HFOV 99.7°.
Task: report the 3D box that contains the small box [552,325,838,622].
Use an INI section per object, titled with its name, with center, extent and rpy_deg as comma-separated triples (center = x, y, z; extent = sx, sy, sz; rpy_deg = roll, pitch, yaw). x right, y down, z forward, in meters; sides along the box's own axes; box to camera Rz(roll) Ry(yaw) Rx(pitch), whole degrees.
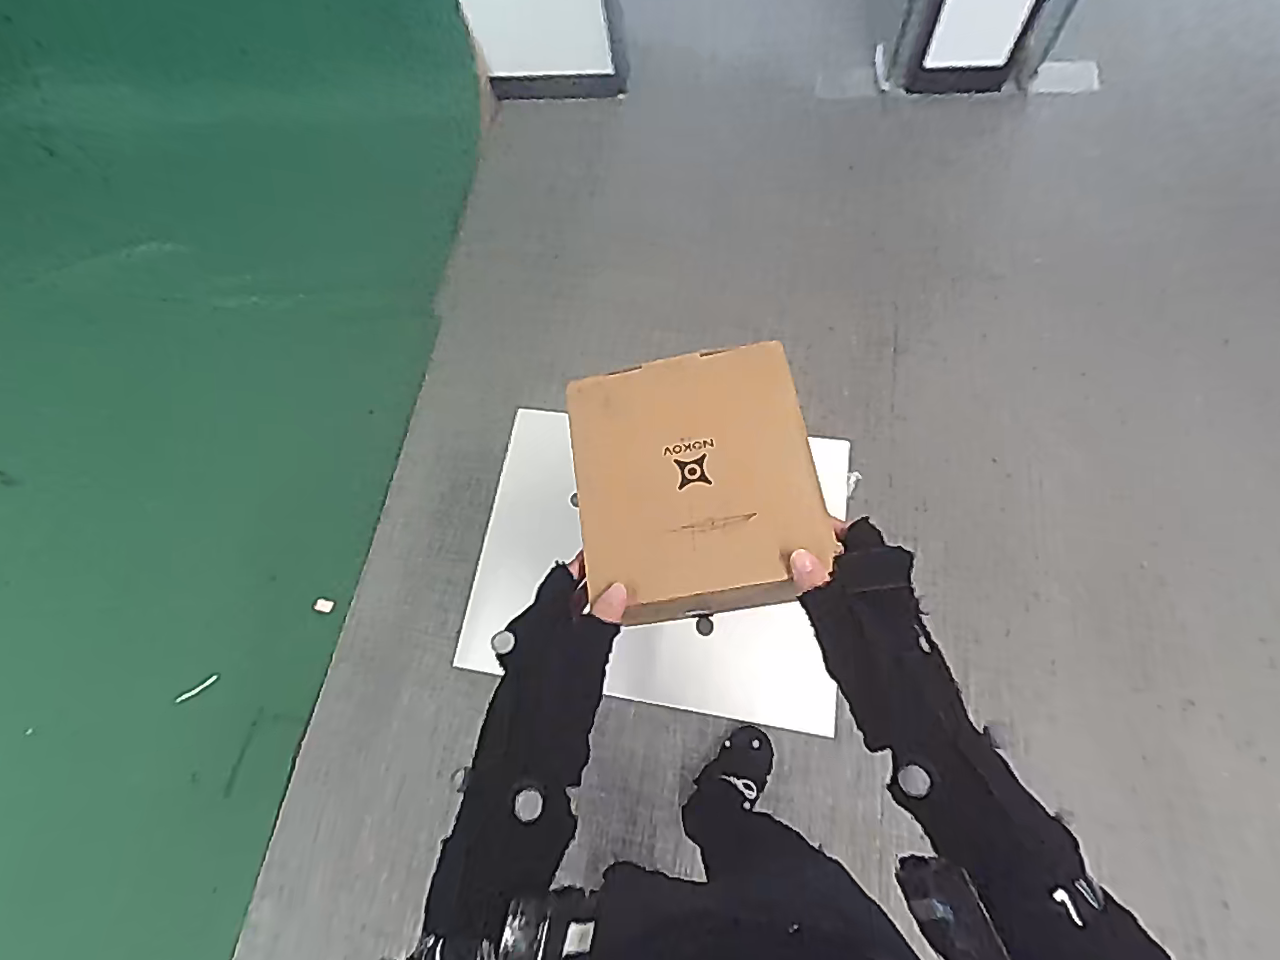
[small box]
center = 0.038, 0.009, 0.436
extent = 0.168, 0.176, 0.179
rpy_deg = -12, 71, 4
